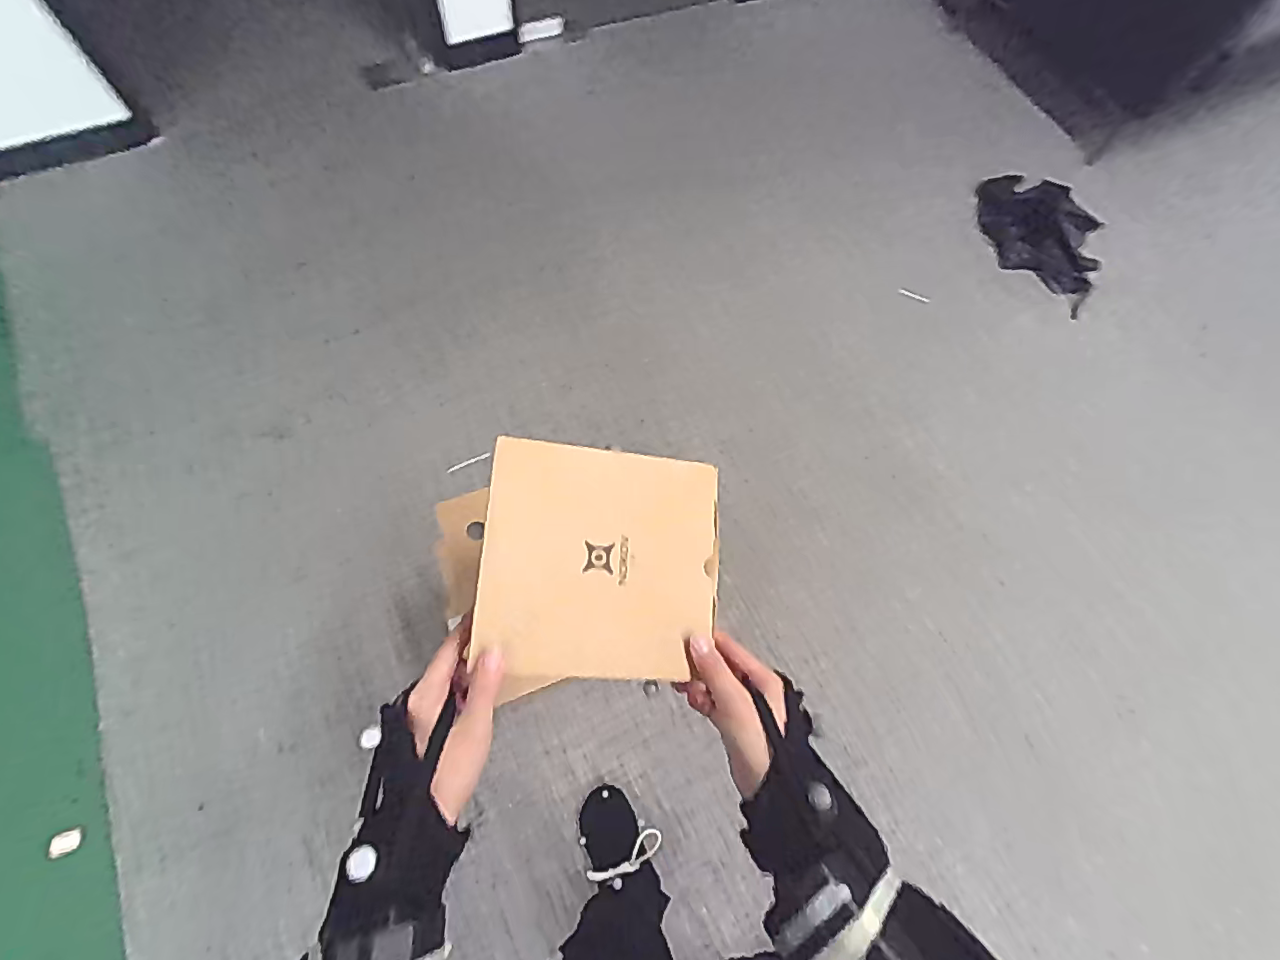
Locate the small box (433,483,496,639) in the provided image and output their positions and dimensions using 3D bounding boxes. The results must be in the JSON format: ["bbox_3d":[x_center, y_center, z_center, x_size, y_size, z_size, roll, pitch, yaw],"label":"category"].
[{"bbox_3d":[-0.154,0.109,0.723,0.168,0.176,0.179,-20,70,-14],"label":"small box"}]

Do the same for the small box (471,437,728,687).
[{"bbox_3d":[-0.041,0.076,0.460,0.179,0.176,0.168,8,75,-15],"label":"small box"}]

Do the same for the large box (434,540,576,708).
[{"bbox_3d":[-0.151,0.235,1.113,0.408,0.320,0.320,-20,72,-13],"label":"large box"}]
